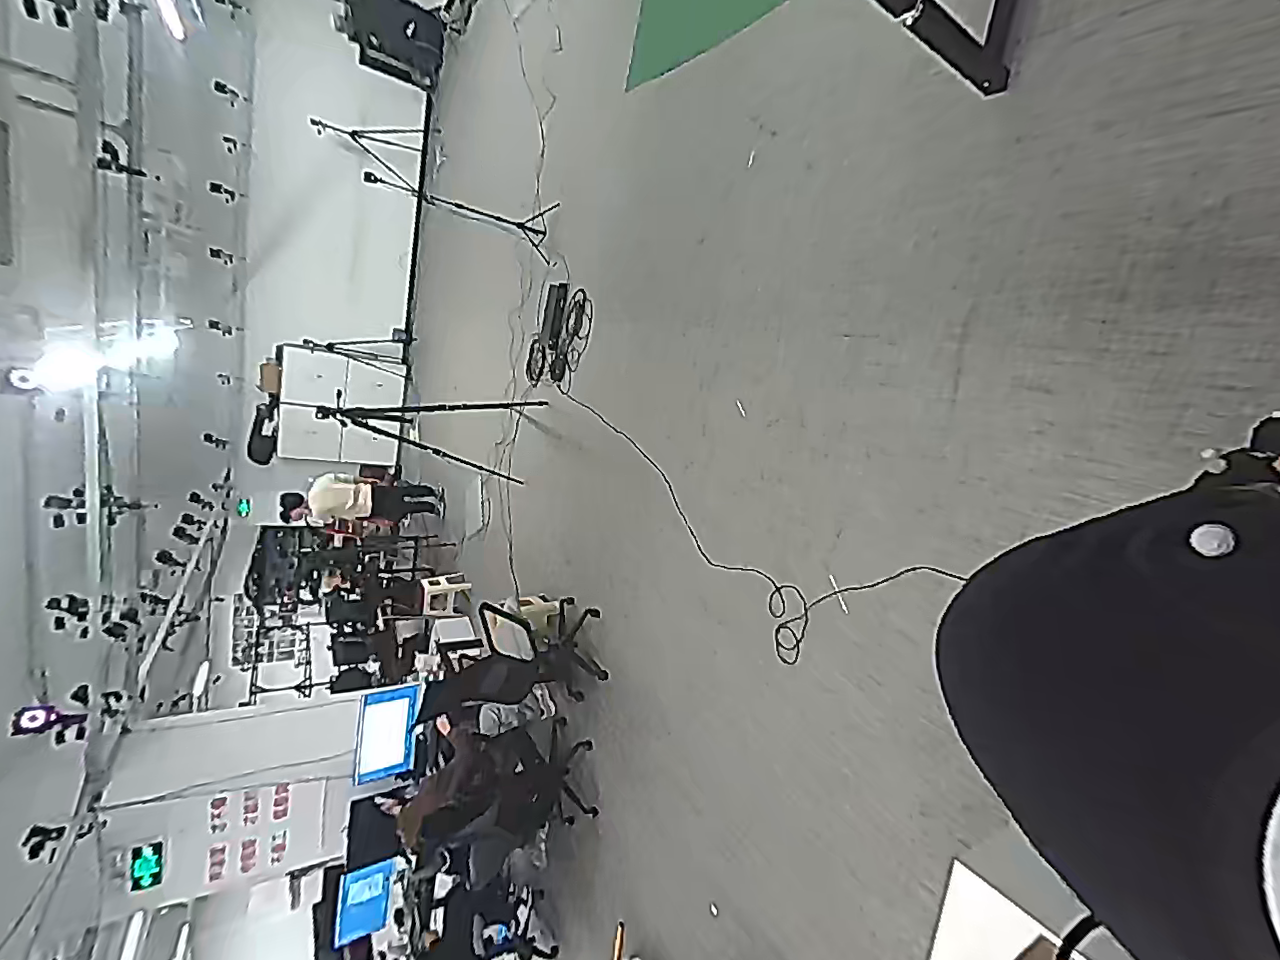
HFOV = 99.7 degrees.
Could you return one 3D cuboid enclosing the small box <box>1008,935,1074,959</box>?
[{"bbox_3d":[0.592,0.804,0.757,0.168,0.176,0.179,19,106,57],"label":"small box"}]
